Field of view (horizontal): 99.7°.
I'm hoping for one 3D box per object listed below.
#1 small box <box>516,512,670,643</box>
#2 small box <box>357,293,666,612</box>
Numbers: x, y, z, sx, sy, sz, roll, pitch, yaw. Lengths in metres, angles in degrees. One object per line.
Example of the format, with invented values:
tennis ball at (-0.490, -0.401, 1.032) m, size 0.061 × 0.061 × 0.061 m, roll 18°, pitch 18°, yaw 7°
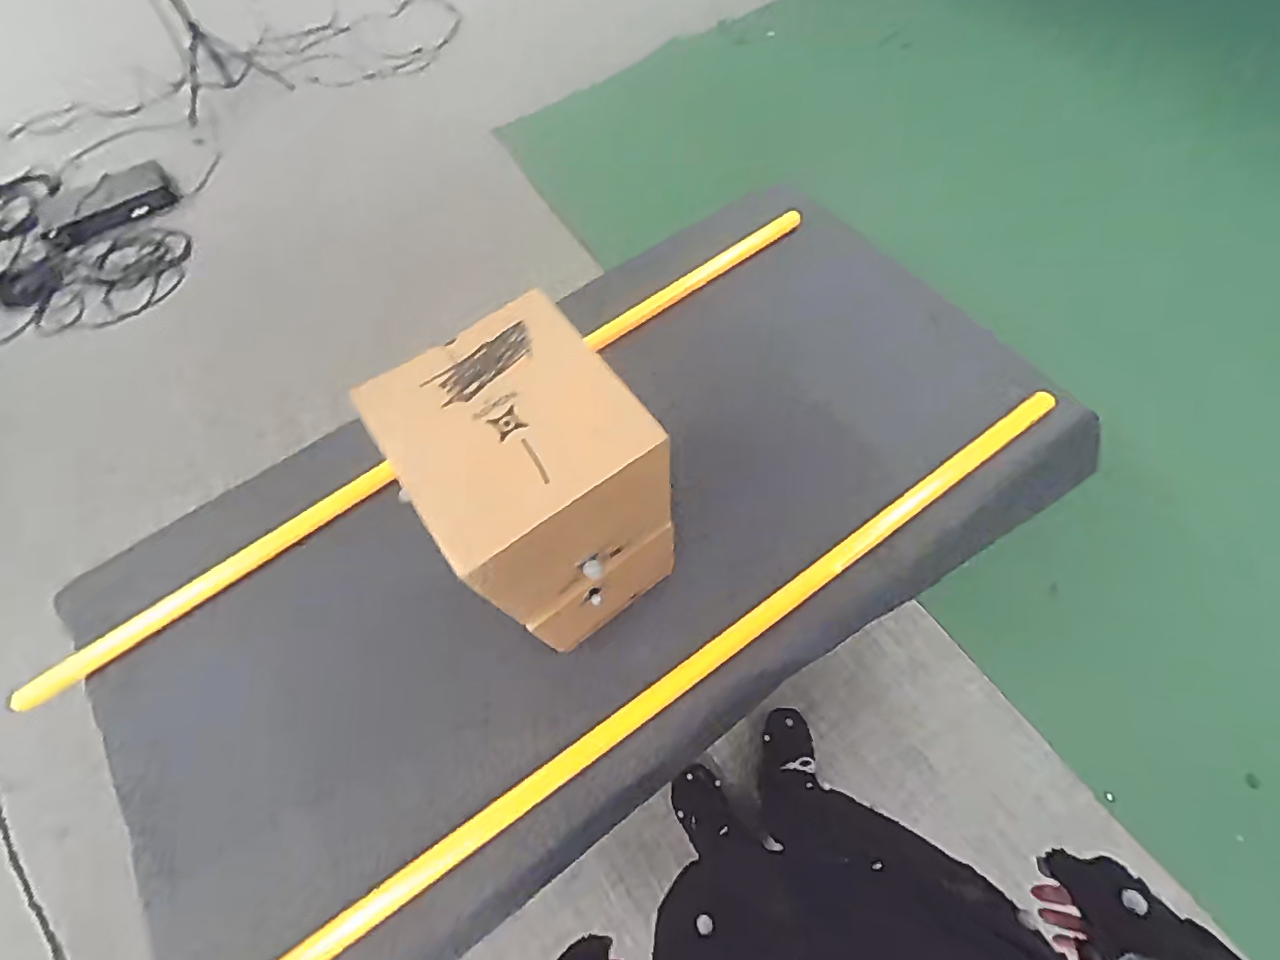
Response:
small box at (-0.082, 0.059, 0.608) m, size 0.168 × 0.176 × 0.179 m, roll -36°, pitch 68°, yaw -11°
small box at (-0.094, -0.013, 0.460) m, size 0.168 × 0.176 × 0.179 m, roll -35°, pitch 68°, yaw -11°
